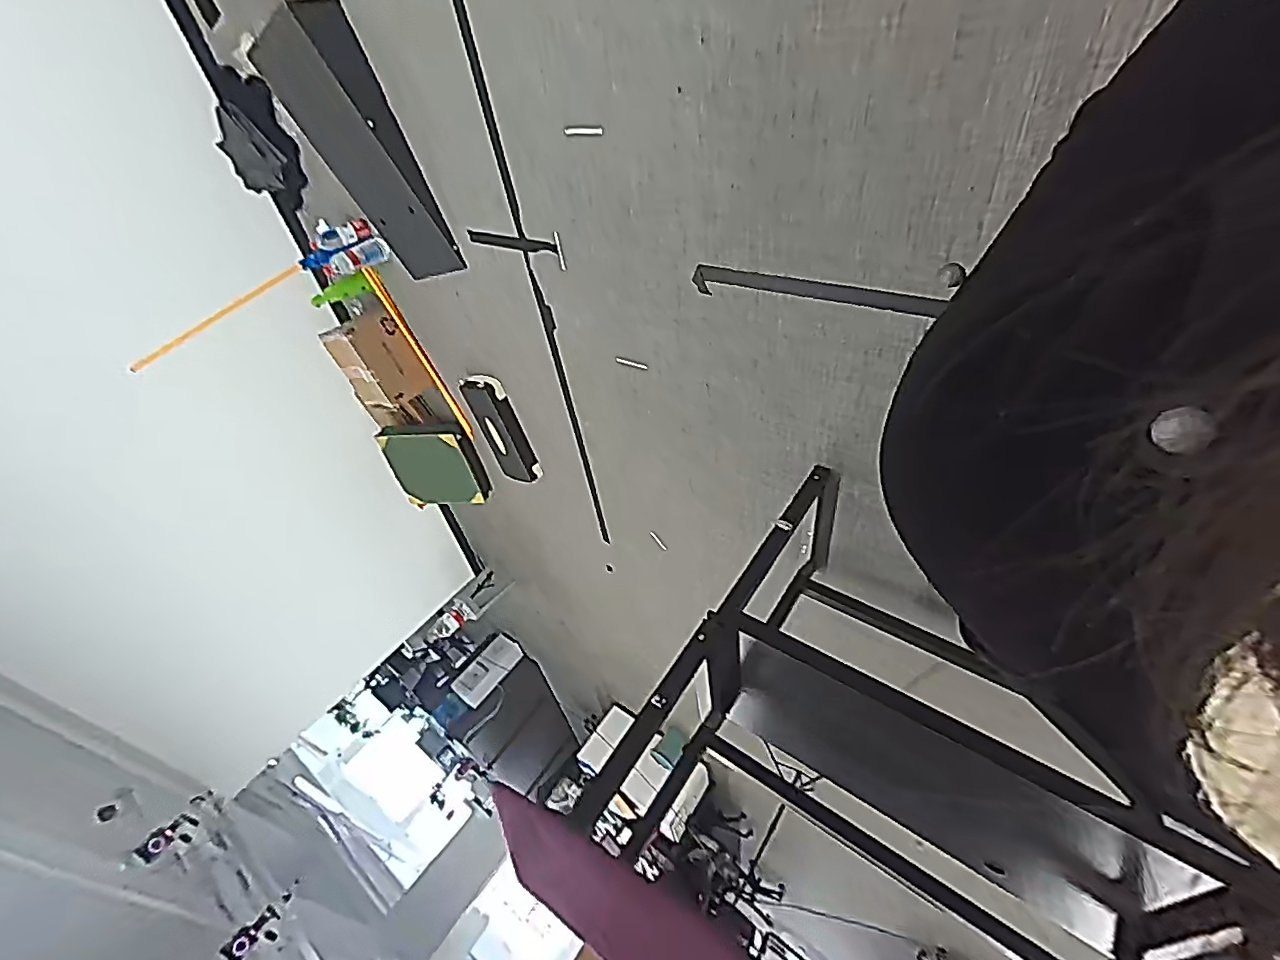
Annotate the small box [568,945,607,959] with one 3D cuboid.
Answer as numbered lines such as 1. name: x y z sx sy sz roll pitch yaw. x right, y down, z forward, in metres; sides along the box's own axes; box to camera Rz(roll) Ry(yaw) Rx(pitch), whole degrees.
1. small box: -0.094 1.066 1.069 0.179 0.176 0.168 23 142 30
